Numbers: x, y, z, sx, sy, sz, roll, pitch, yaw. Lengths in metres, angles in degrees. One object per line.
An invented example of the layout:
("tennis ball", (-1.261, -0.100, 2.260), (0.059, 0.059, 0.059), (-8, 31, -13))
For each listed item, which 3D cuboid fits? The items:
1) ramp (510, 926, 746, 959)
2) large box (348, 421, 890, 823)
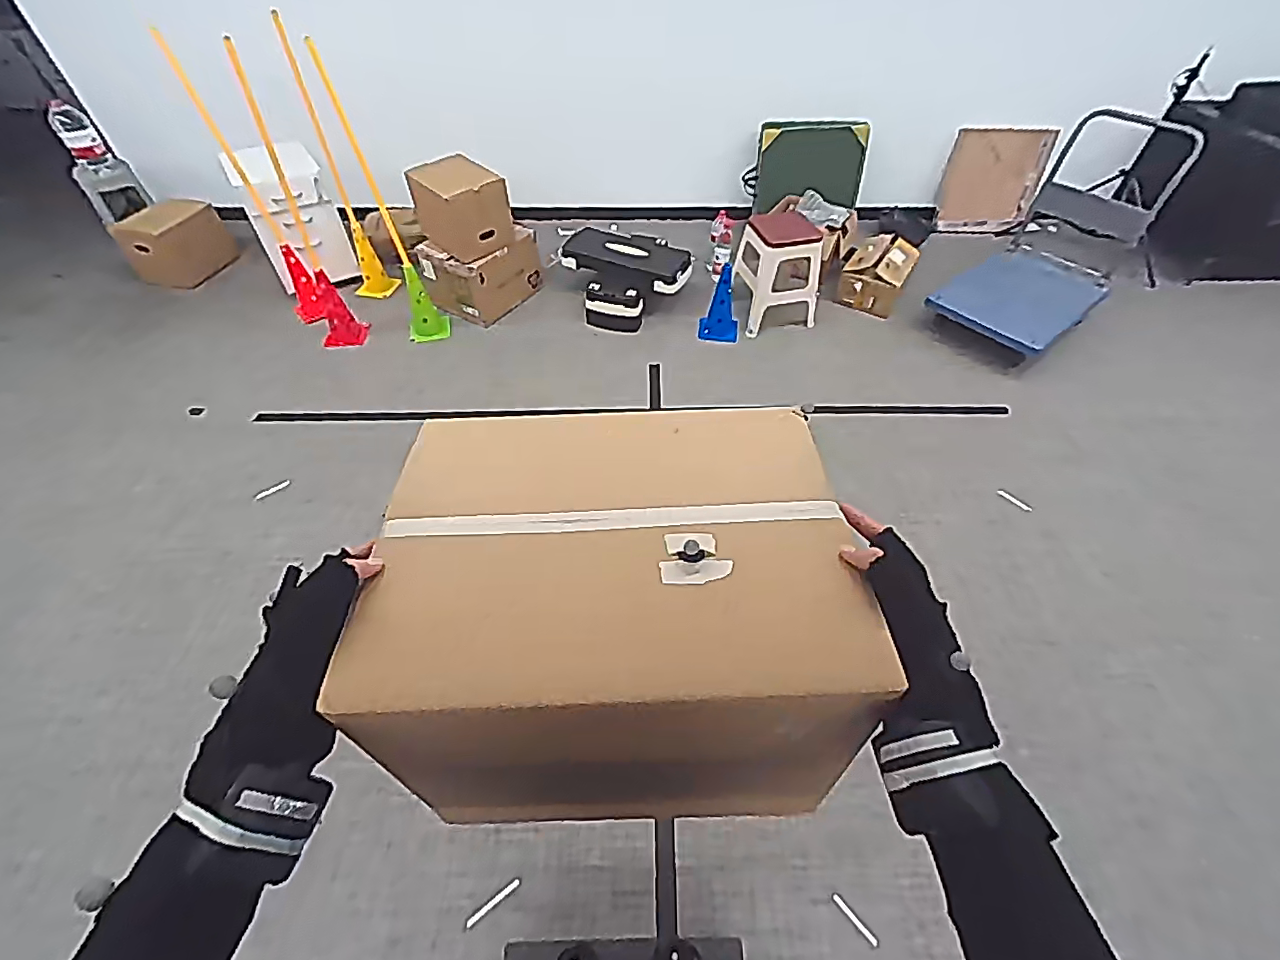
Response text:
("ramp", (-0.015, 1.371, 0.884), (0.509, 0.206, 0.991), (-1, 50, -2))
("large box", (-0.017, 0.155, 0.598), (0.408, 0.320, 0.320), (-2, 45, 0))
